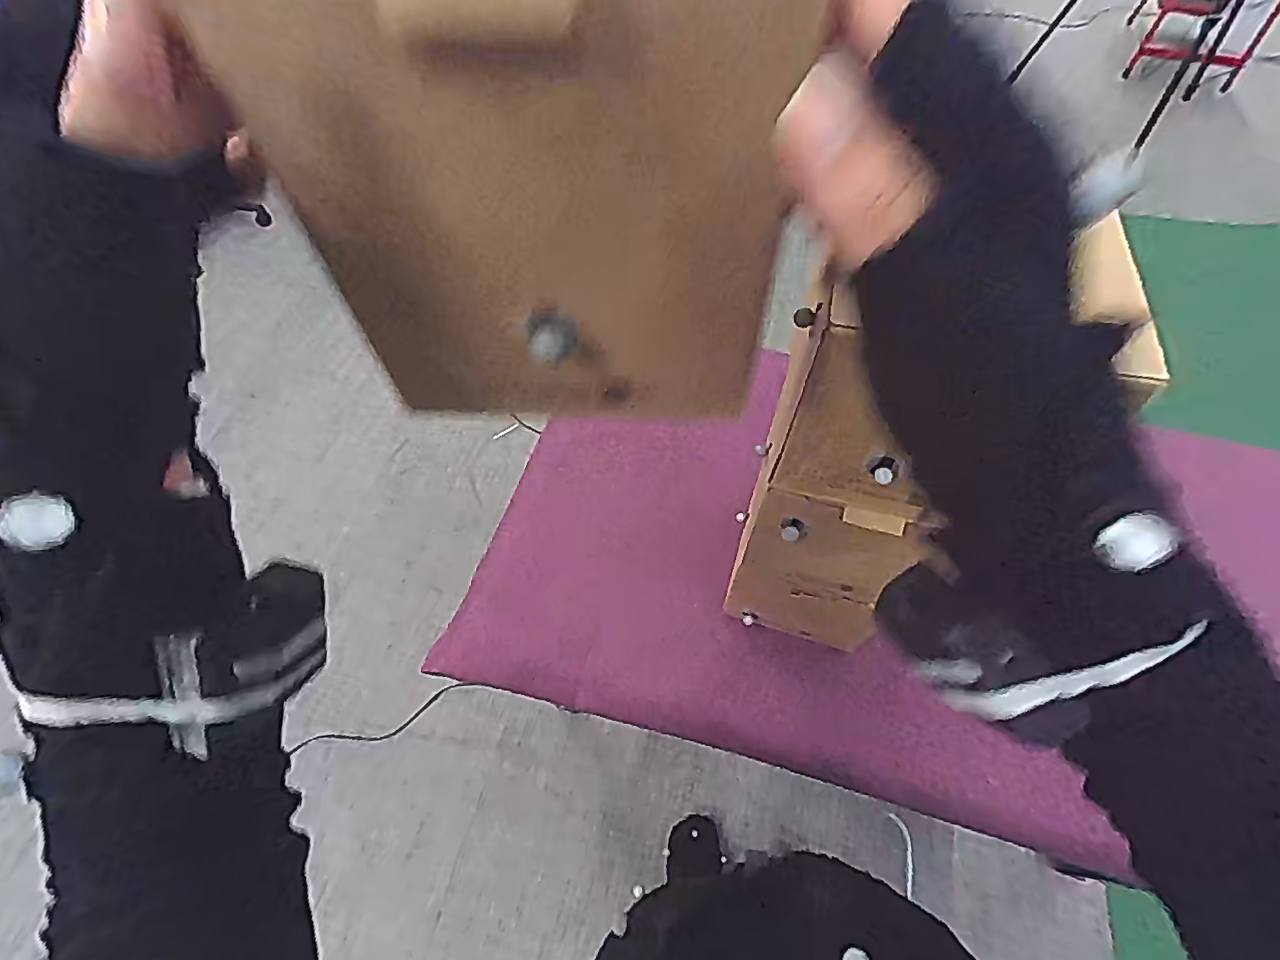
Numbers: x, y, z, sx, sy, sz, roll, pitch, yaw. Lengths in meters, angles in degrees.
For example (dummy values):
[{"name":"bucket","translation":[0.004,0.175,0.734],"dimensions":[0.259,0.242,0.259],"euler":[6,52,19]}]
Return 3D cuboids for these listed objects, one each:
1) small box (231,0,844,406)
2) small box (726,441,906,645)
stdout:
[{"name":"small box","translation":[-0.025,-0.155,0.238],"dimensions":[0.168,0.176,0.179],"euler":[1,58,3]},{"name":"small box","translation":[0.208,0.084,0.670],"dimensions":[0.168,0.176,0.179],"euler":[15,60,10]}]
